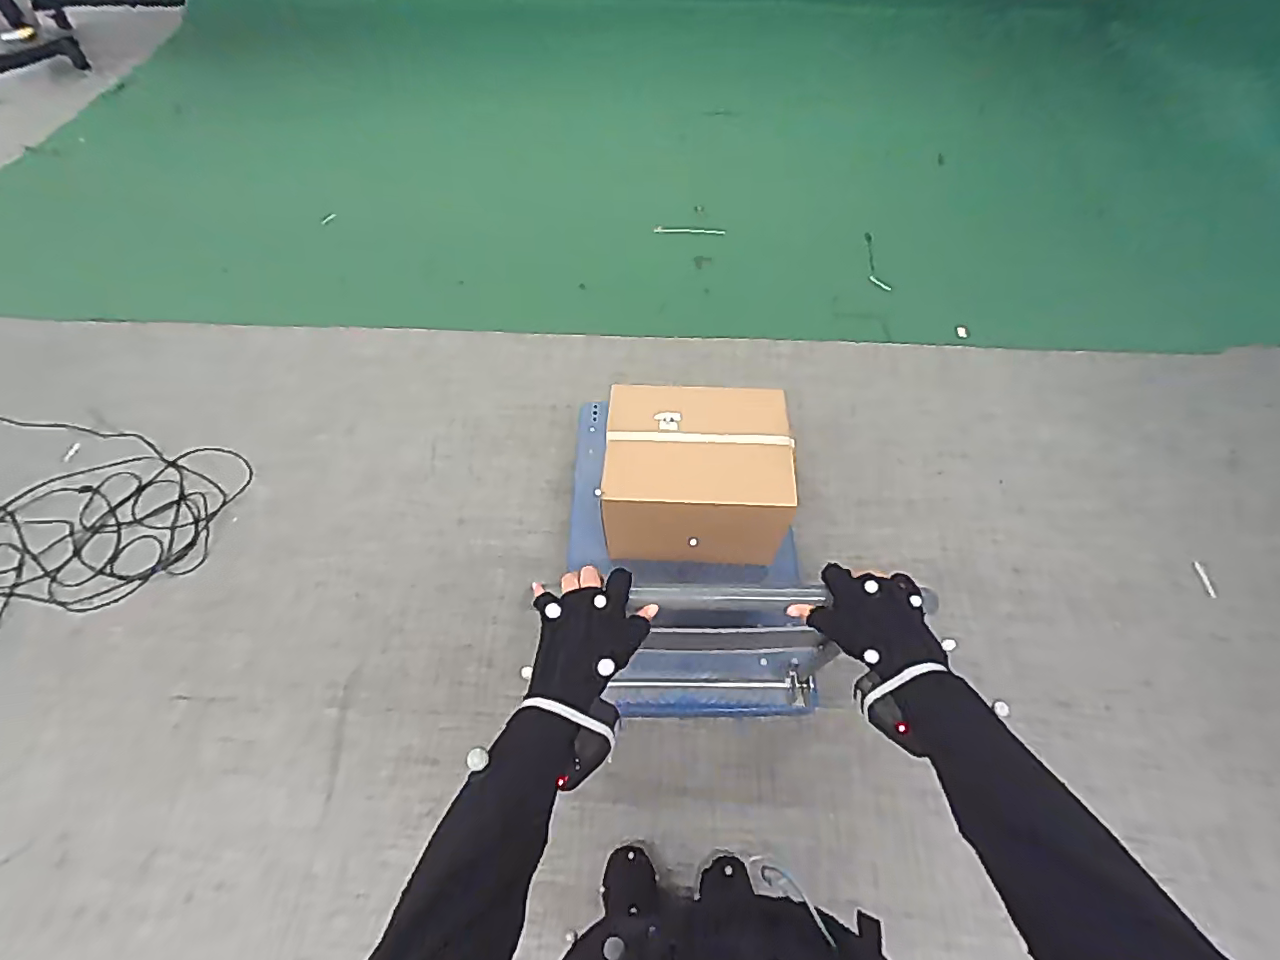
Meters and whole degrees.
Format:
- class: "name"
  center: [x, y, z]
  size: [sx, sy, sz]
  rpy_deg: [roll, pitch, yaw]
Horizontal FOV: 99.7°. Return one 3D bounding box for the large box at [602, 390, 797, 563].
- class: "large box"
  center: [0.131, 0.000, 1.305]
  size: [0.408, 0.320, 0.320]
  rpy_deg: [2, 58, 3]
